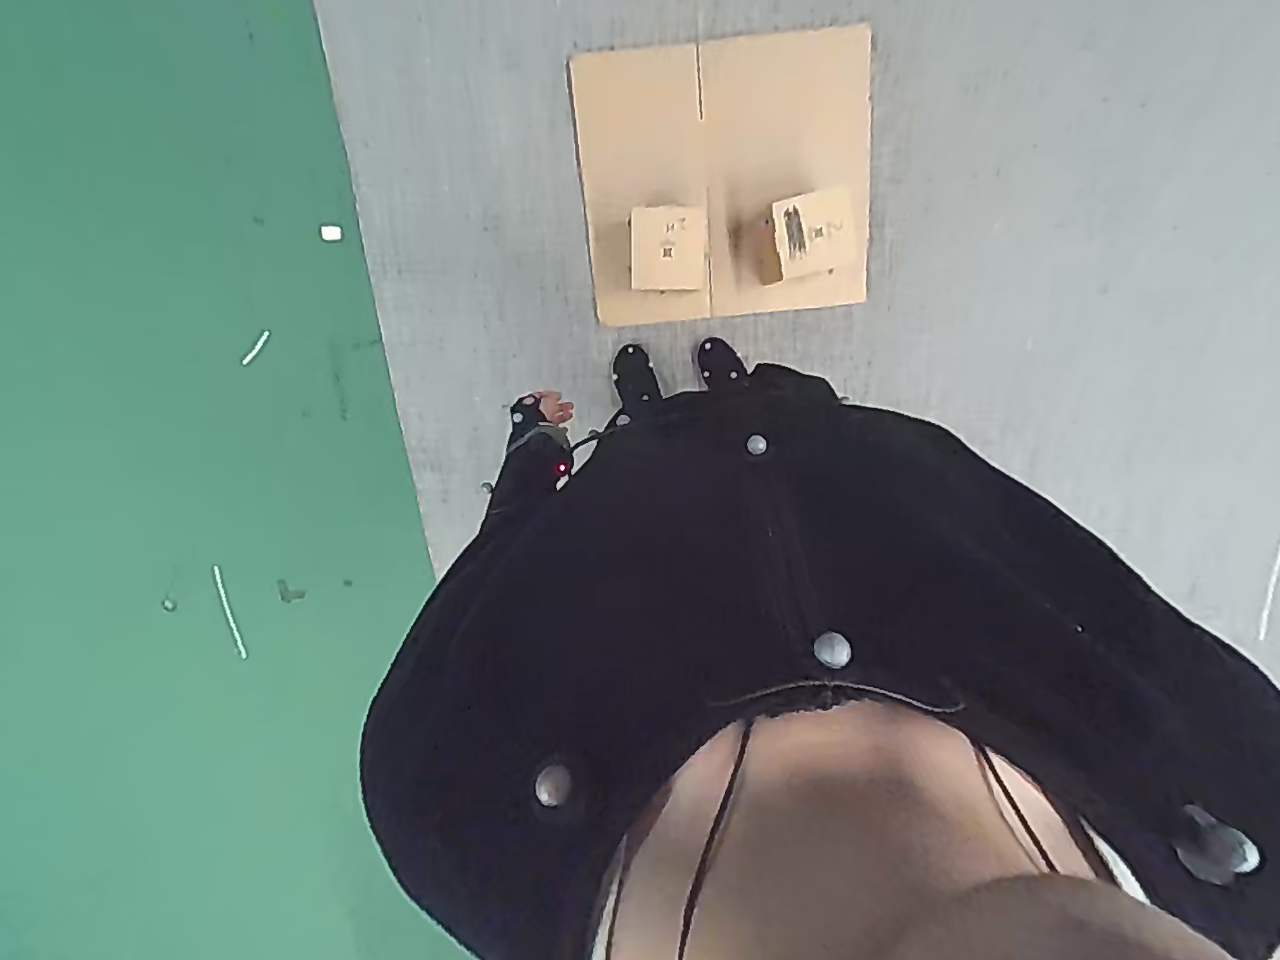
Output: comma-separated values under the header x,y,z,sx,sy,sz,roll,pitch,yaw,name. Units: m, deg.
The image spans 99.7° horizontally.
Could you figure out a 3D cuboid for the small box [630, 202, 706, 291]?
x,y,z,sx,sy,sz,roll,pitch,yaw,name
0.061,-0.542,1.274,0.168,0.176,0.179,0,106,-1,small box
